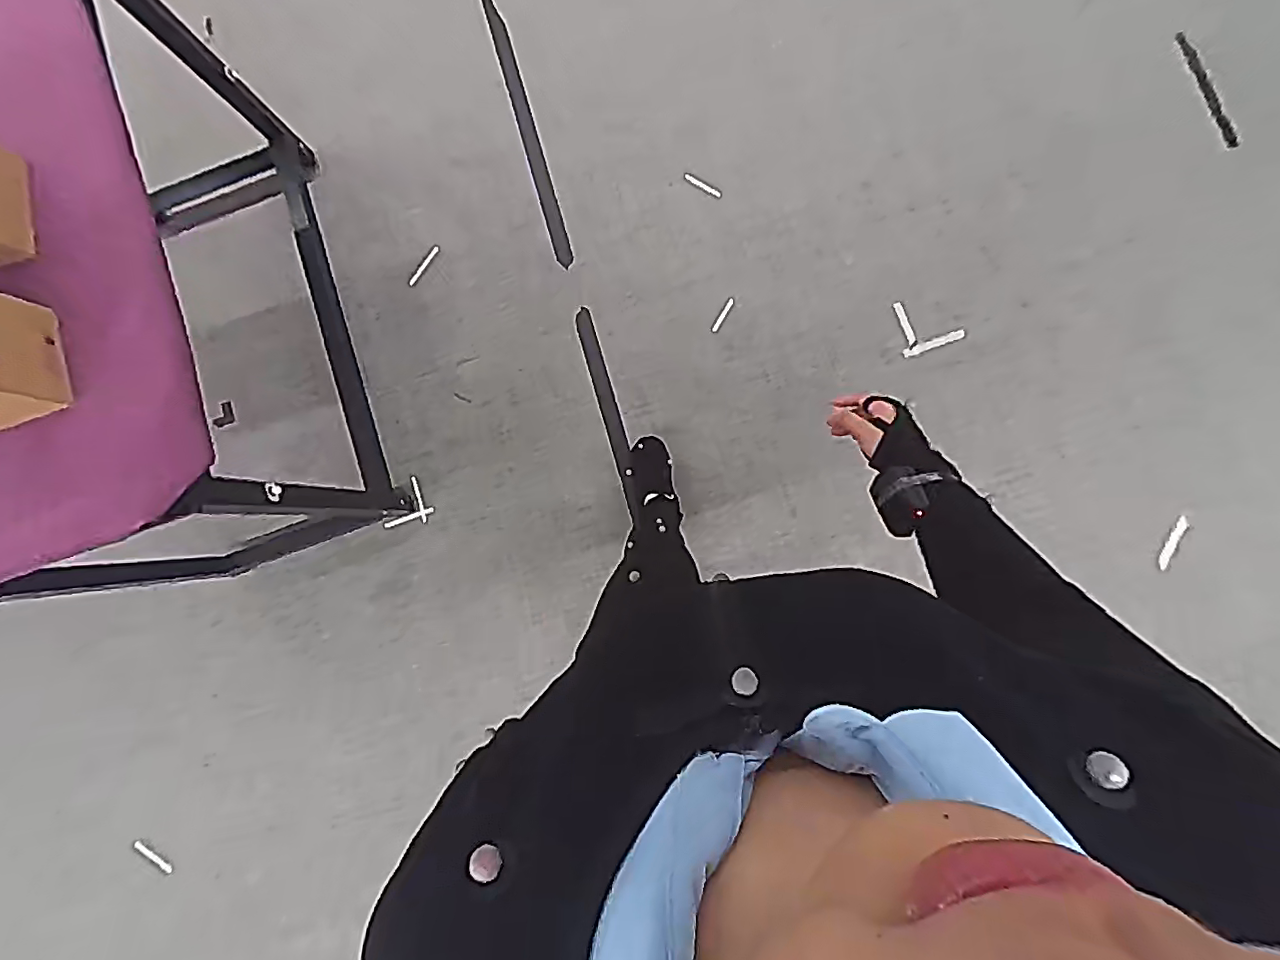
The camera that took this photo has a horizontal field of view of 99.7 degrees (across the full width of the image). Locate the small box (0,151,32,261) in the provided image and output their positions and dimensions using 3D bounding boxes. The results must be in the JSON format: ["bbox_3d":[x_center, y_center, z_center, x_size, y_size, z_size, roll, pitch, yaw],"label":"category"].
[{"bbox_3d":[-1.090,-0.442,0.819,0.168,0.176,0.179,-10,84,3],"label":"small box"}]
